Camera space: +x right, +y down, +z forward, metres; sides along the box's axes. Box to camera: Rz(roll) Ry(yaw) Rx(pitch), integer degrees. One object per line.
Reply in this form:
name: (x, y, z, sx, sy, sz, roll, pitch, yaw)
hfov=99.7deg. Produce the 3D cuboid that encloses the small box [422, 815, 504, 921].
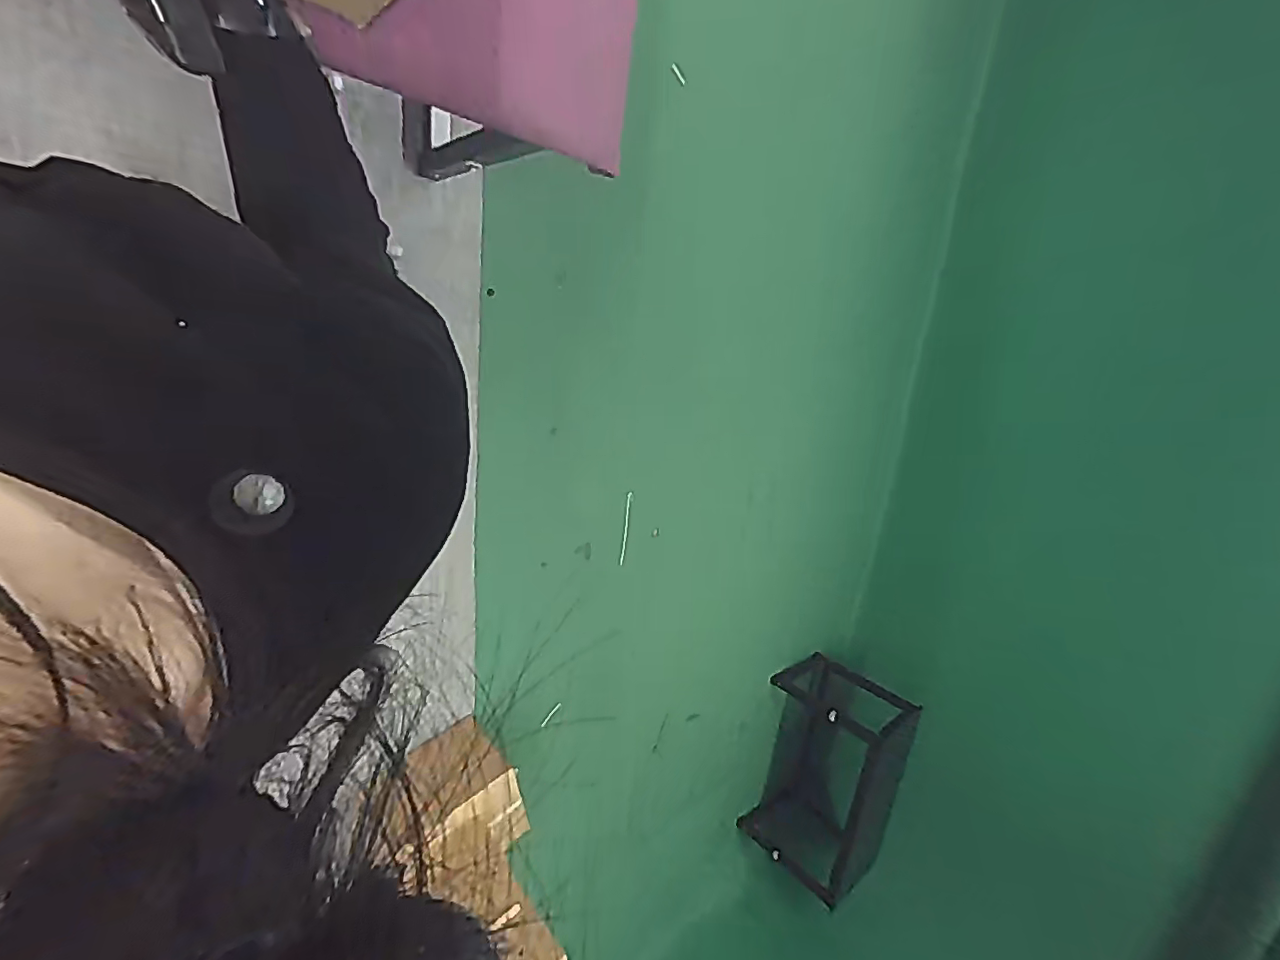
small box: (-0.517, 1.144, 1.595, 0.179, 0.176, 0.168, -20, 118, -37)

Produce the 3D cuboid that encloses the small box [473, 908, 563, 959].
small box: (-0.303, 1.241, 1.365, 0.168, 0.176, 0.179, -20, 117, -37)

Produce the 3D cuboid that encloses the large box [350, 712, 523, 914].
large box: (-0.660, 1.067, 1.780, 0.408, 0.320, 0.320, -25, 123, -36)

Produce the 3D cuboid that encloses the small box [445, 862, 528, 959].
small box: (-0.416, 1.195, 1.476, 0.168, 0.176, 0.179, -19, 117, -38)
